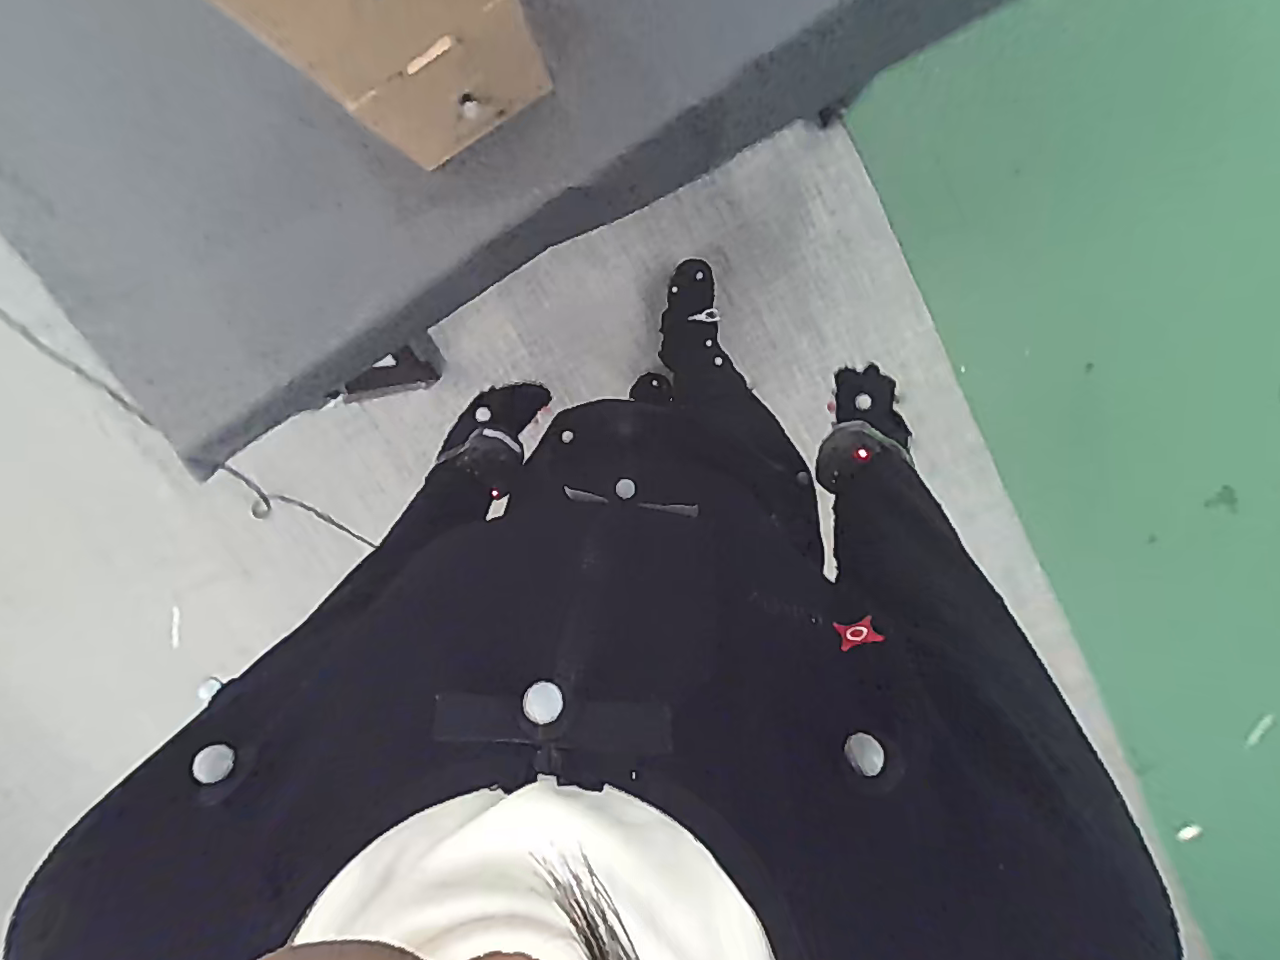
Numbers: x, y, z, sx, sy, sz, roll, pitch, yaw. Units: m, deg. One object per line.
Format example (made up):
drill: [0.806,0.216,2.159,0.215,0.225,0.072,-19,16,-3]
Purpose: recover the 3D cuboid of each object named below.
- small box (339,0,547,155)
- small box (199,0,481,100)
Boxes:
small box: [-0.208,-0.435,0.498,0.168,0.176,0.179,-29,101,10]
small box: [-0.212,-0.395,0.338,0.179,0.176,0.168,-29,100,11]
